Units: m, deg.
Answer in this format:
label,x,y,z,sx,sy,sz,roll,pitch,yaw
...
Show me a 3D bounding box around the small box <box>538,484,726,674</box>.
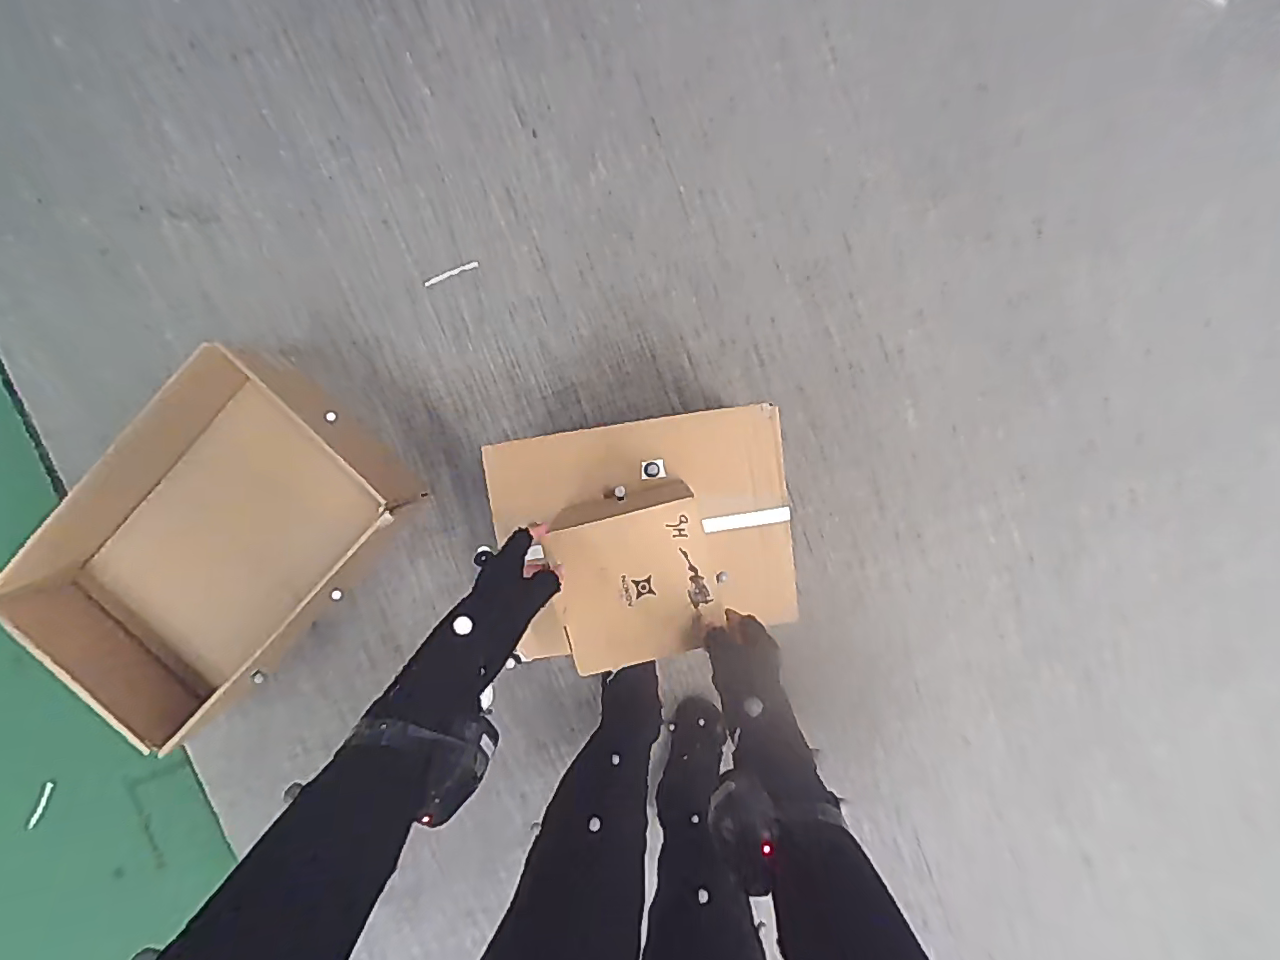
label,x,y,z,sx,sy,sz,roll,pitch,yaw
small box,-0.005,0.109,0.662,0.179,0.176,0.168,-14,96,3
